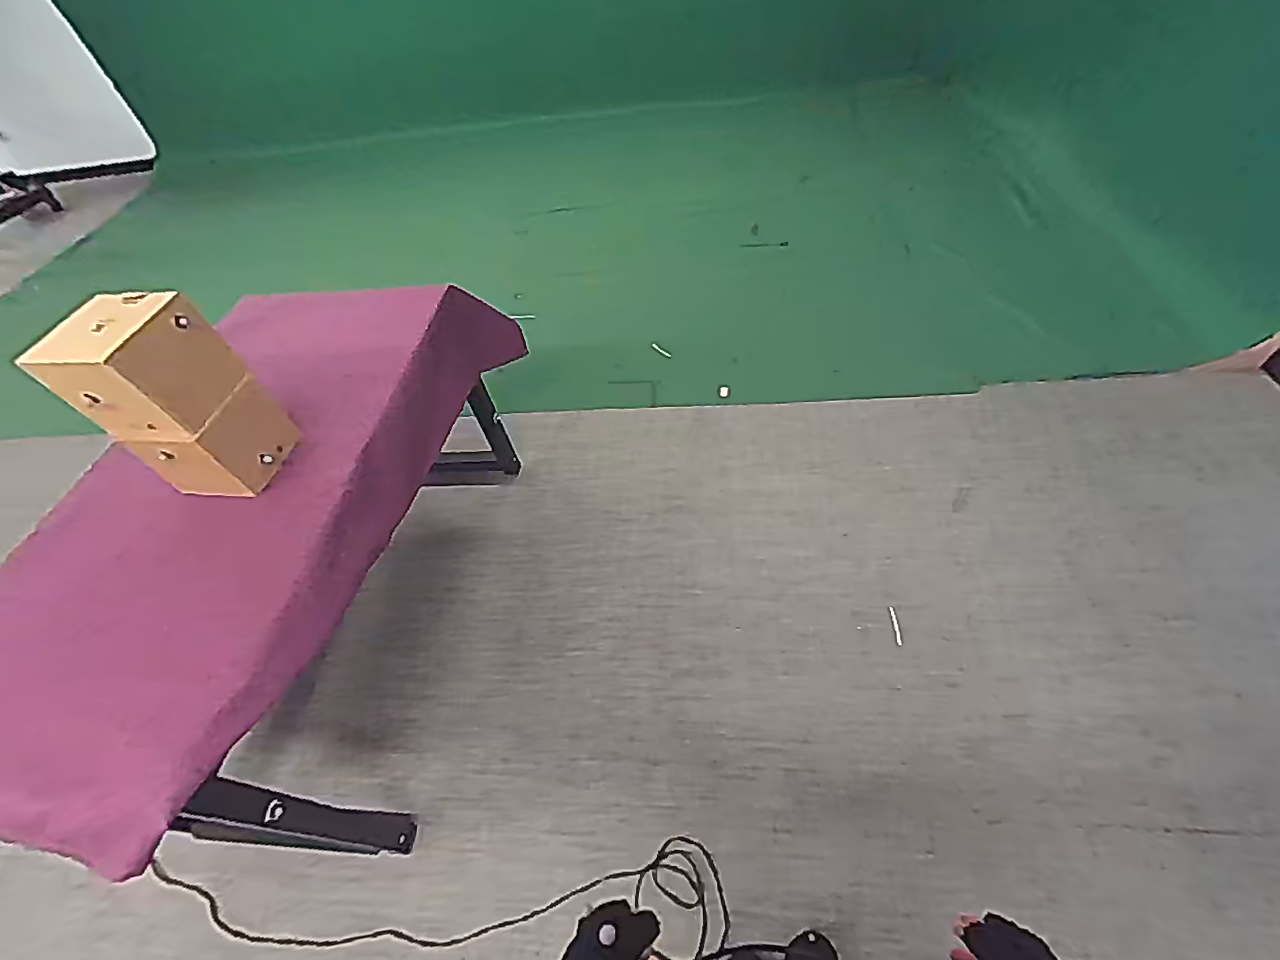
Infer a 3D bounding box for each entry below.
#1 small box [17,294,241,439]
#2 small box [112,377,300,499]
[{"bbox_3d":[-0.819,-0.182,0.894,0.168,0.176,0.179,1,53,10],"label":"small box"},{"bbox_3d":[-0.798,-0.078,1.016,0.179,0.176,0.168,3,54,11],"label":"small box"}]
